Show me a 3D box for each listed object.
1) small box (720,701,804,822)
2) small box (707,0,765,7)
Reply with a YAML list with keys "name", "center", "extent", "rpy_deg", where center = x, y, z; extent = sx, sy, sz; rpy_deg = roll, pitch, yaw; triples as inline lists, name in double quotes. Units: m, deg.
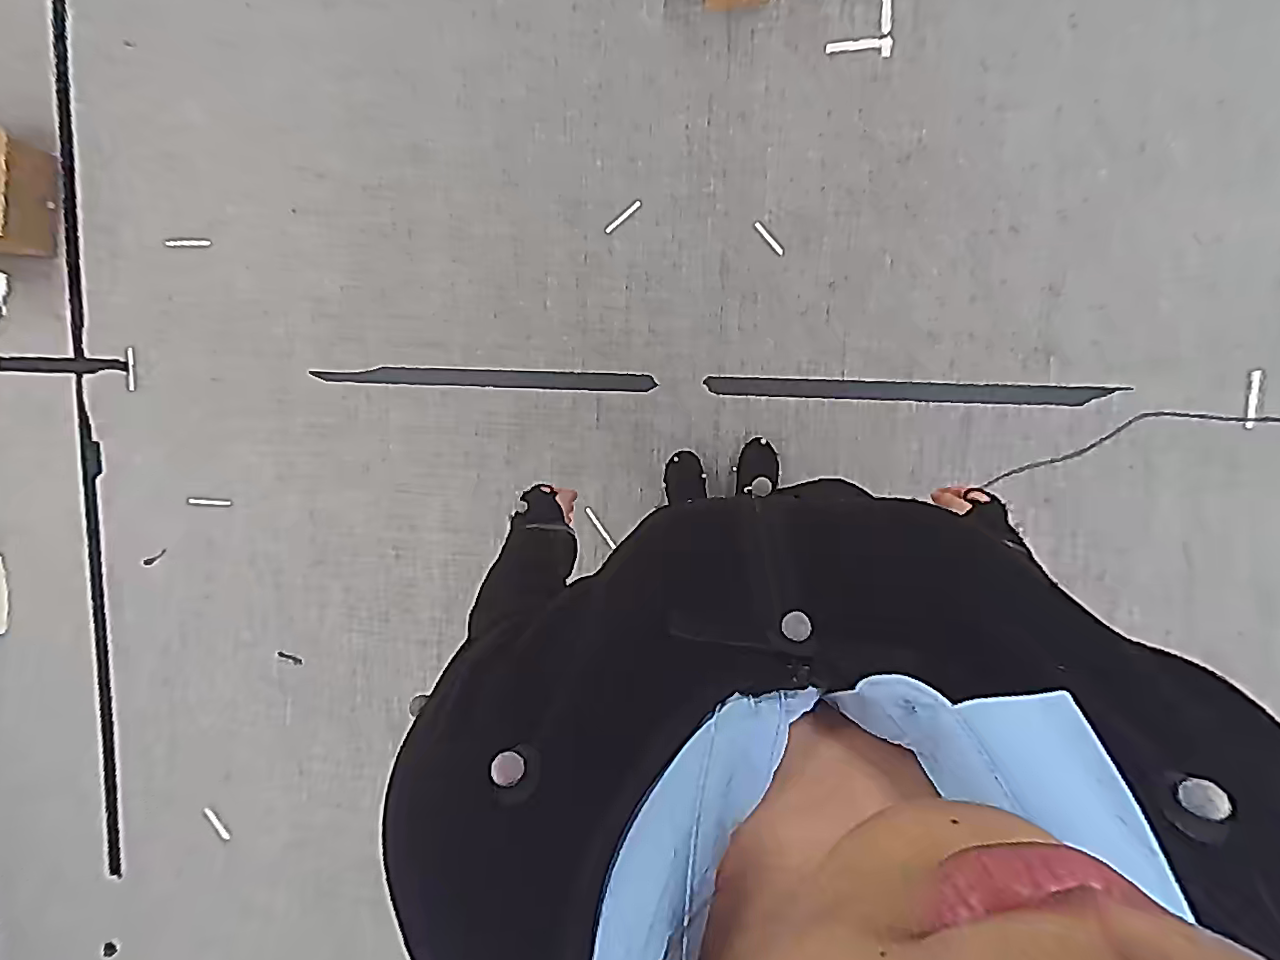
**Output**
- name: "small box"
  center: [0.276, 0.644, 1.253]
  extent: [0.168, 0.176, 0.179]
  rpy_deg: [4, 94, 7]
- name: "small box"
  center: [0.239, -1.308, 1.308]
  extent: [0.168, 0.176, 0.179]
  rpy_deg: [0, 95, 8]
